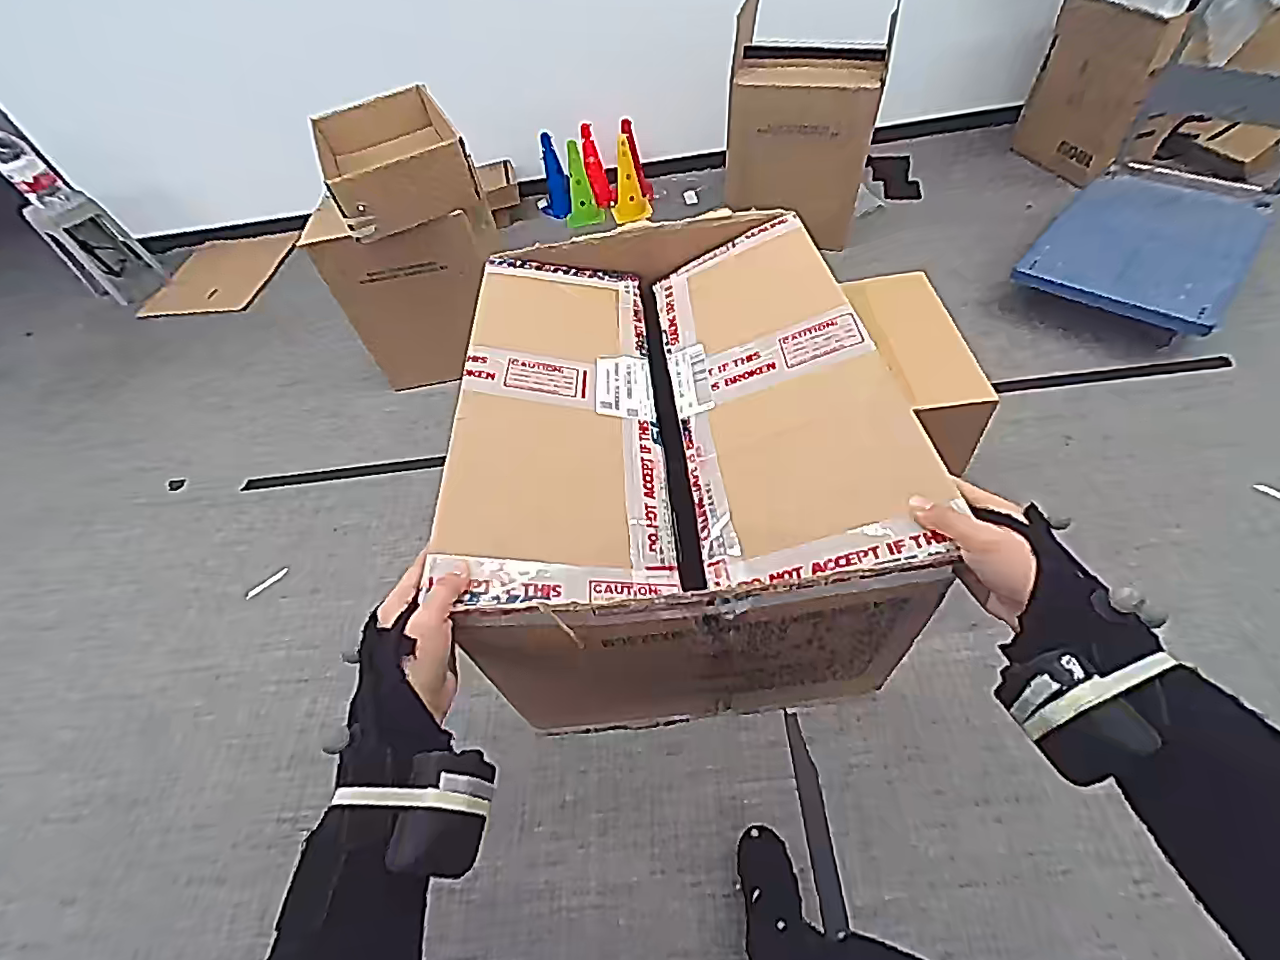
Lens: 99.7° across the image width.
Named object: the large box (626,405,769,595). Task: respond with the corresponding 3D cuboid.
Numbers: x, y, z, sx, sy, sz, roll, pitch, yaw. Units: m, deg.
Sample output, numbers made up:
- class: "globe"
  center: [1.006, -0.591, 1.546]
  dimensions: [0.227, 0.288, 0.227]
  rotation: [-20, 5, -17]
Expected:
- class: "large box"
  center: [0.145, 0.056, 1.477]
  dimensions: [0.320, 0.320, 0.408]
  rotation: [-8, 53, 4]
